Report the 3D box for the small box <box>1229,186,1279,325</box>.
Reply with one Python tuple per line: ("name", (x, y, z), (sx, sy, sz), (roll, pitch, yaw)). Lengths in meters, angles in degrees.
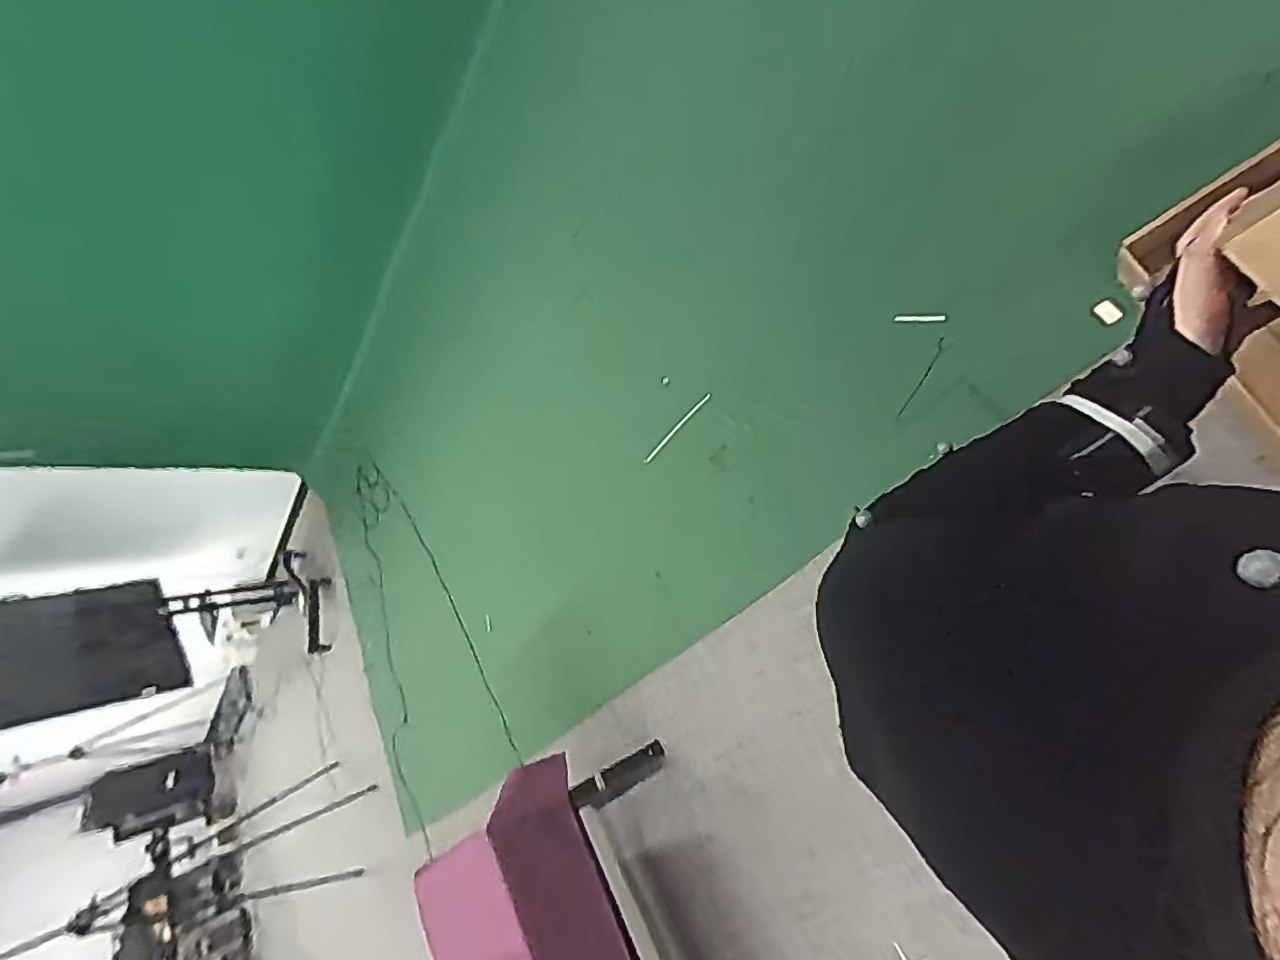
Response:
("small box", (0.987, -0.340, 0.763), (0.168, 0.176, 0.179), (-25, 76, 41))
